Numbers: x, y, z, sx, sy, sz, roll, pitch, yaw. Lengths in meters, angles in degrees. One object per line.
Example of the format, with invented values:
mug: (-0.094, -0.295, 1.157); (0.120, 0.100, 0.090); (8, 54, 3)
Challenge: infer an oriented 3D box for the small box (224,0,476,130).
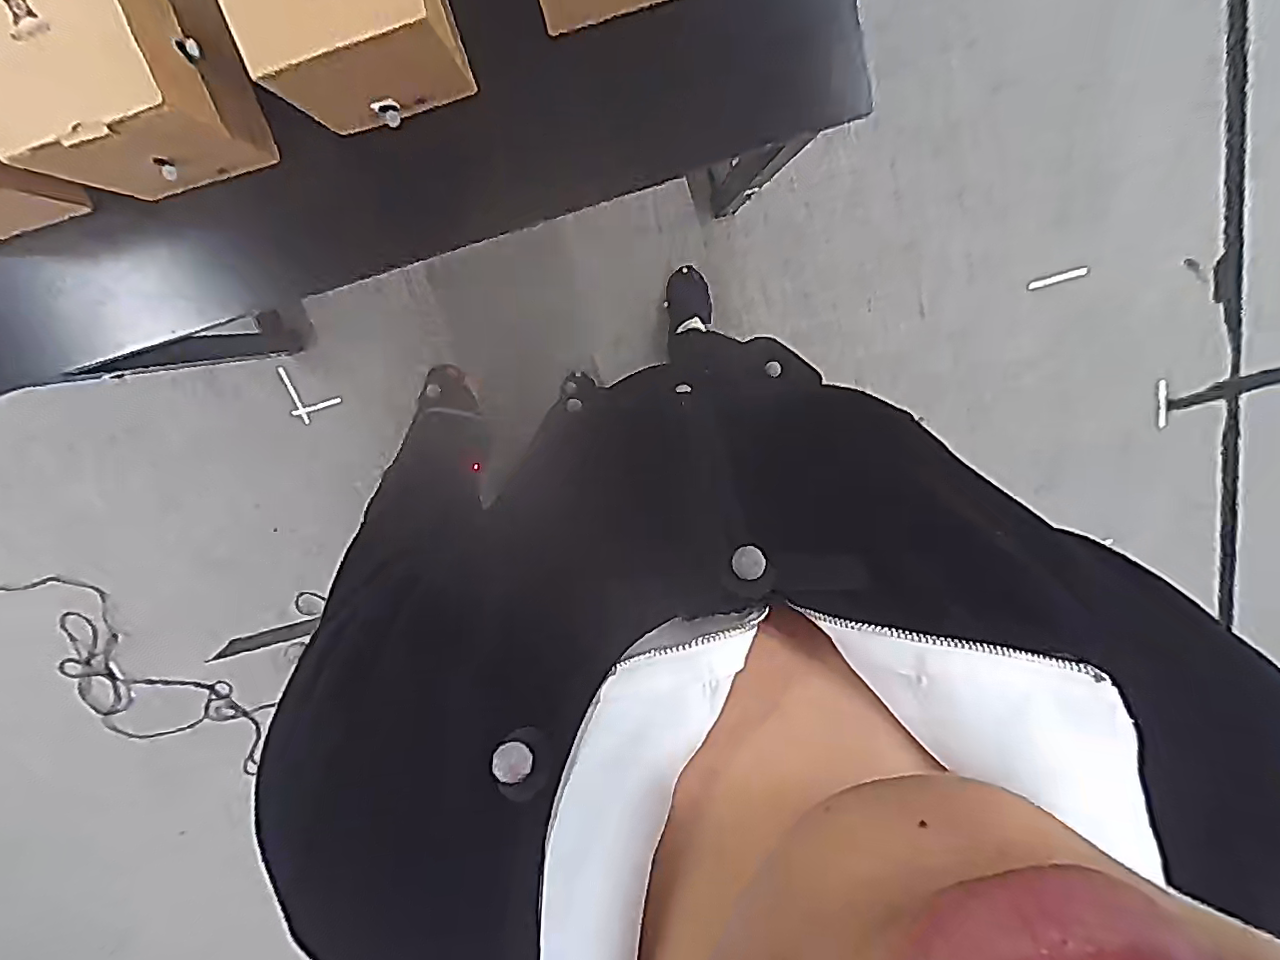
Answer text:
small box: (-0.280, -0.475, 0.516); (0.168, 0.176, 0.179); (-16, 108, 4)

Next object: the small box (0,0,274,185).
small box: (-0.509, -0.408, 0.525); (0.168, 0.176, 0.179); (-16, 107, 1)

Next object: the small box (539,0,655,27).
small box: (-0.033, -0.568, 0.494); (0.179, 0.176, 0.168); (-15, 107, 3)

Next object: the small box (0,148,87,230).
small box: (-0.734, -0.352, 0.532); (0.179, 0.176, 0.168); (-16, 107, 2)
